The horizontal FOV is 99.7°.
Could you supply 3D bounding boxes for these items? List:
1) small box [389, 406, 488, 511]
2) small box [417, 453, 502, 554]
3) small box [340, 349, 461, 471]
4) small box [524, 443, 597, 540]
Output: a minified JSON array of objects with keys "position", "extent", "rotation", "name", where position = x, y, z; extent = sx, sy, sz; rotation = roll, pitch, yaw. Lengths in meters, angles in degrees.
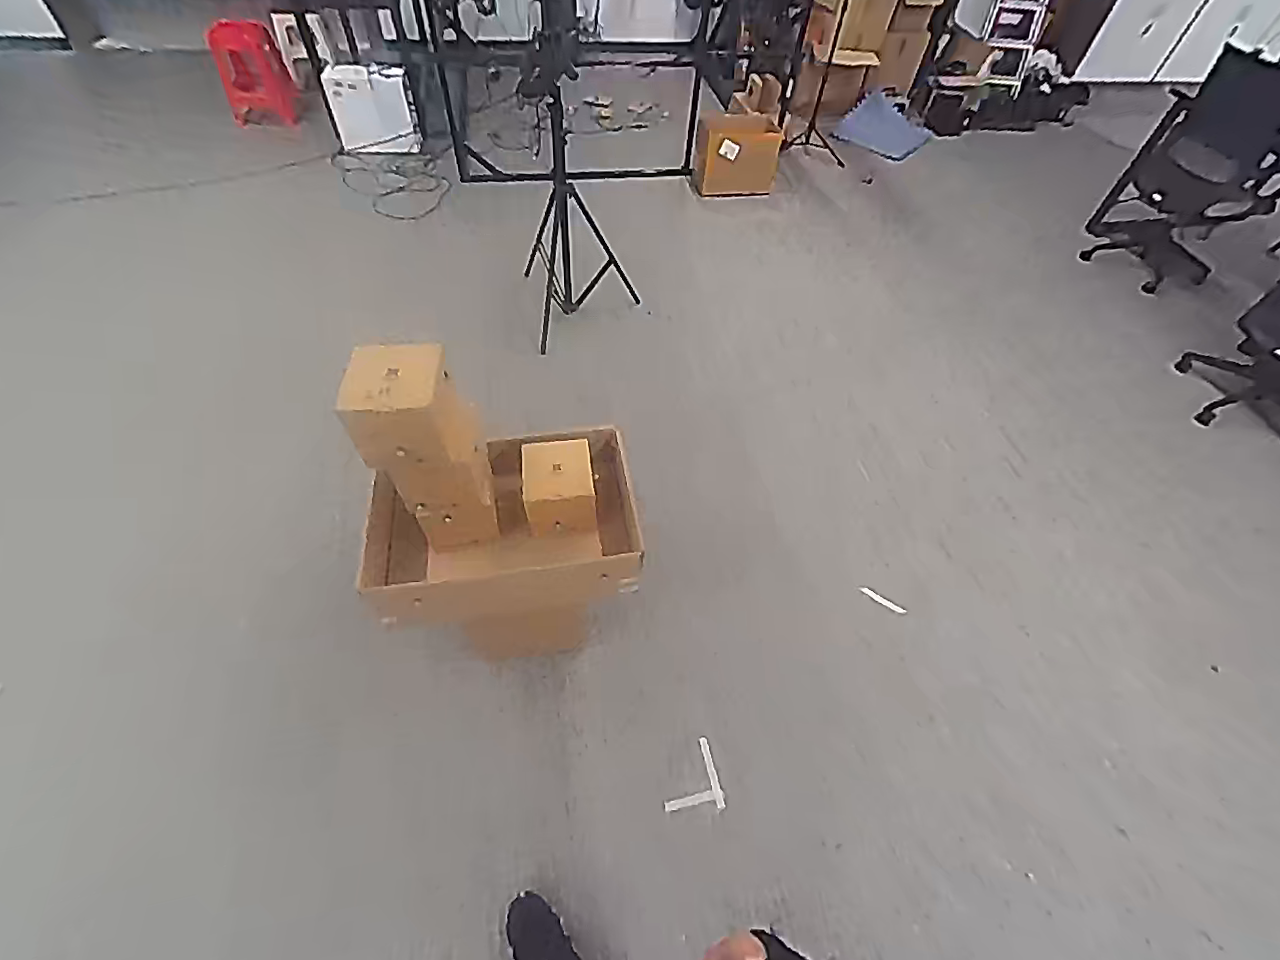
[{"position":[-0.435,-0.043,1.198],"extent":[0.168,0.176,0.179],"rotation":[-3,53,-7],"name":"small box"},{"position":[-0.439,0.057,1.329],"extent":[0.168,0.176,0.179],"rotation":[-10,54,-9],"name":"small box"},{"position":[-0.456,-0.137,1.062],"extent":[0.168,0.176,0.179],"rotation":[-3,54,-6],"name":"small box"},{"position":[-0.200,0.029,1.366],"extent":[0.168,0.176,0.179],"rotation":[-6,55,-7],"name":"small box"}]
